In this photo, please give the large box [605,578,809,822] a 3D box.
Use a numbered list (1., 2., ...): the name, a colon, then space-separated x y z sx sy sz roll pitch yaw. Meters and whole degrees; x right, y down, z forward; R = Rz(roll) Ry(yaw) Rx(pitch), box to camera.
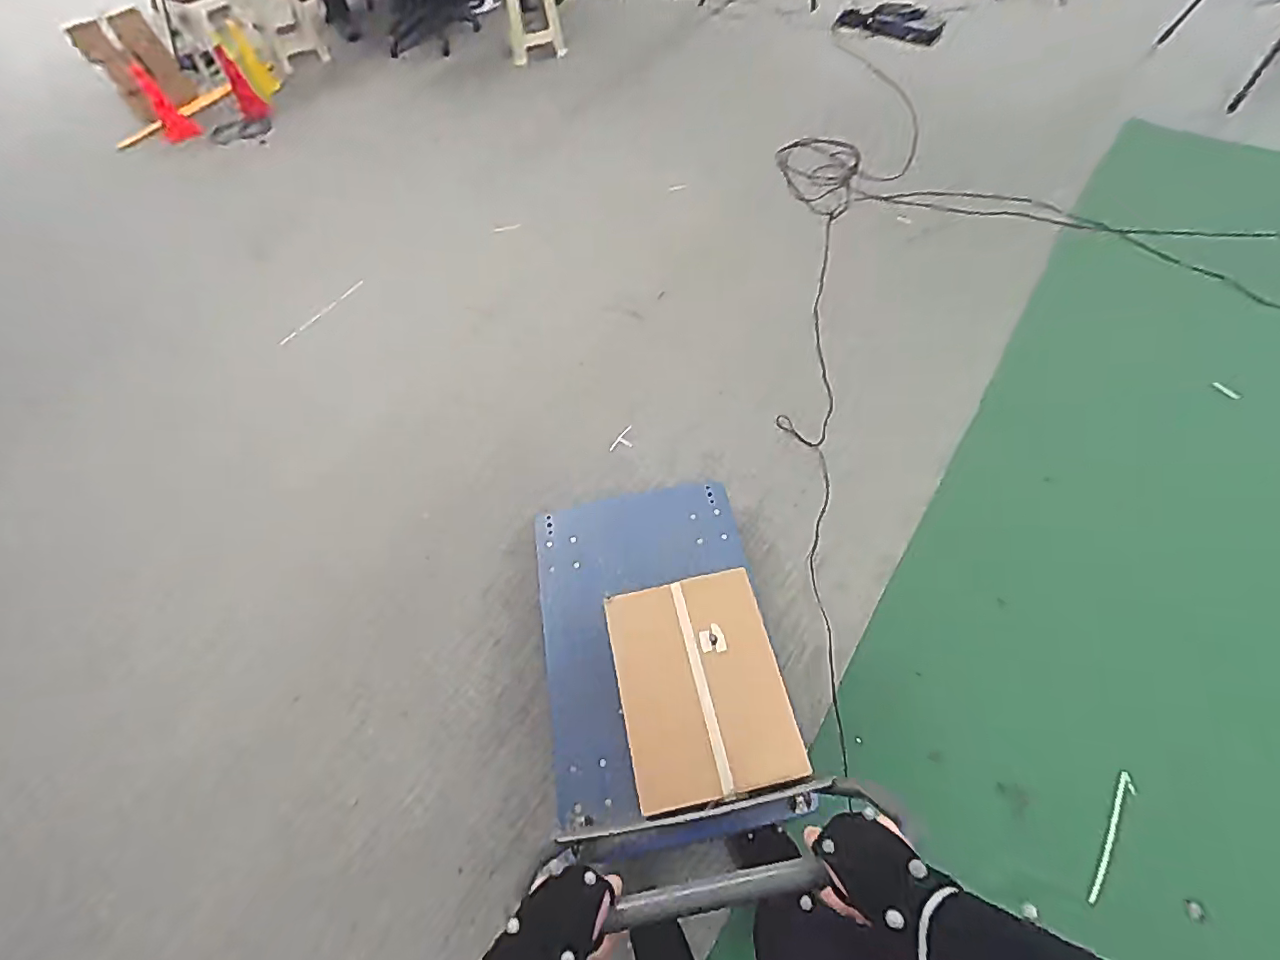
1. large box: 0.127 0.487 1.193 0.320 0.320 0.408 -12 58 -4
